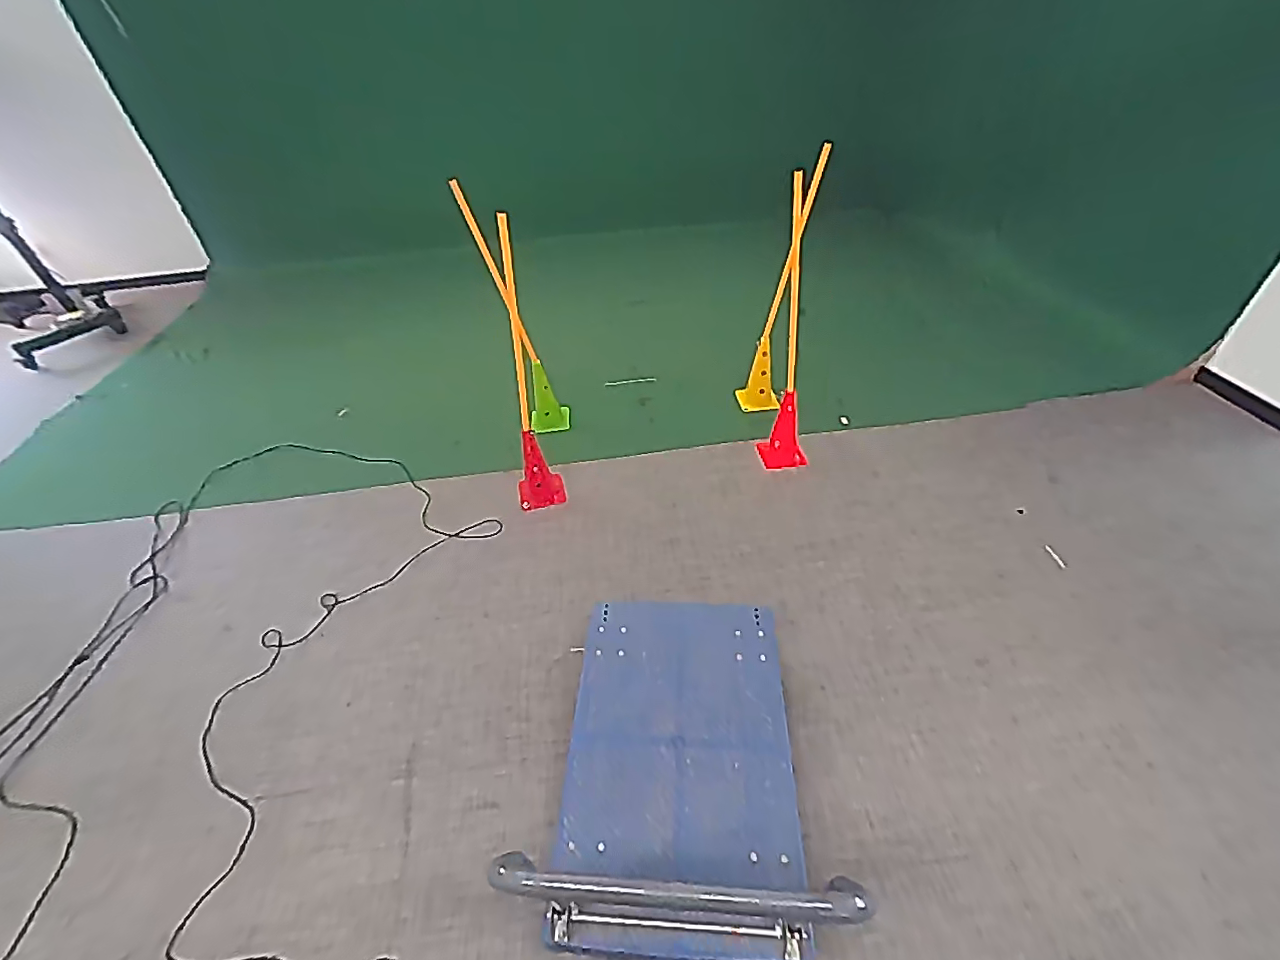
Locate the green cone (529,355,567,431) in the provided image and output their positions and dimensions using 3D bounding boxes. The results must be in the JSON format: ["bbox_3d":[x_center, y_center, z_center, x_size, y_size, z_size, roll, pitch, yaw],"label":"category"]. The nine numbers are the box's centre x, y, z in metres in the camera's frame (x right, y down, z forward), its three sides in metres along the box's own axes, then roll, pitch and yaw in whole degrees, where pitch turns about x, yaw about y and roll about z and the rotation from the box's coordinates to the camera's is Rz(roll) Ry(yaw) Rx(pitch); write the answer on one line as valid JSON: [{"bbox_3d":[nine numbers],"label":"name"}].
[{"bbox_3d":[-0.492,-0.451,2.706,0.200,0.368,0.202,-8,41,-2],"label":"green cone"}]

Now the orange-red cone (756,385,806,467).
[{"bbox_3d":[0.641,-0.258,2.397,0.198,0.360,0.199,-6,40,-3],"label":"orange-red cone"}]
